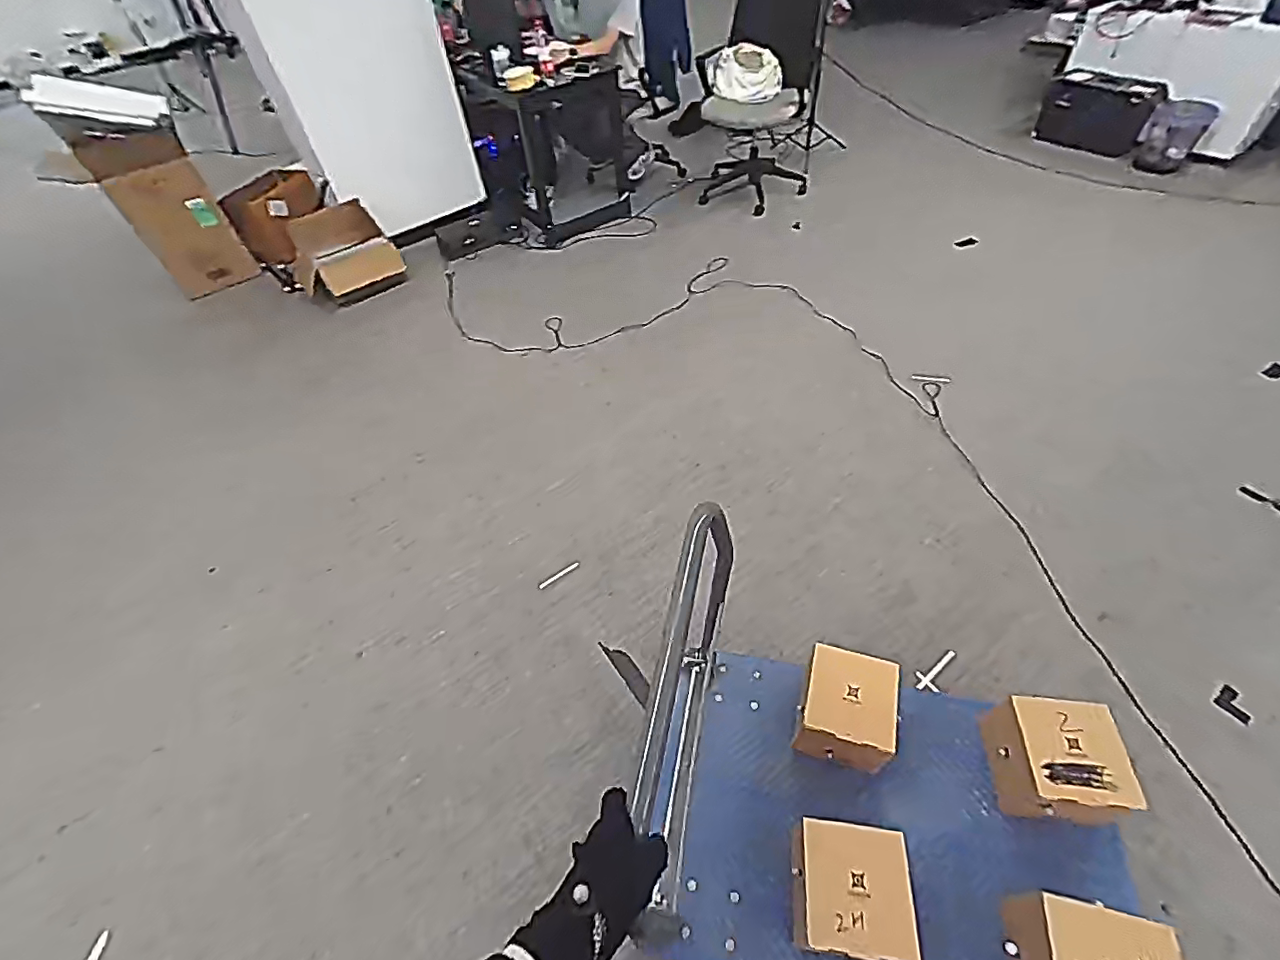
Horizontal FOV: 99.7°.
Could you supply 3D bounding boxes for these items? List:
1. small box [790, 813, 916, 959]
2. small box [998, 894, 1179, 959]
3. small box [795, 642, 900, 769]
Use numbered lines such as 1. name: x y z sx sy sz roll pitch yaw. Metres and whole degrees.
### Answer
1. small box: 0.353 0.701 0.930 0.168 0.176 0.179 4 51 10
2. small box: 0.692 0.769 0.836 0.179 0.176 0.168 8 52 14
3. small box: 0.423 0.468 1.119 0.168 0.176 0.179 12 54 16
